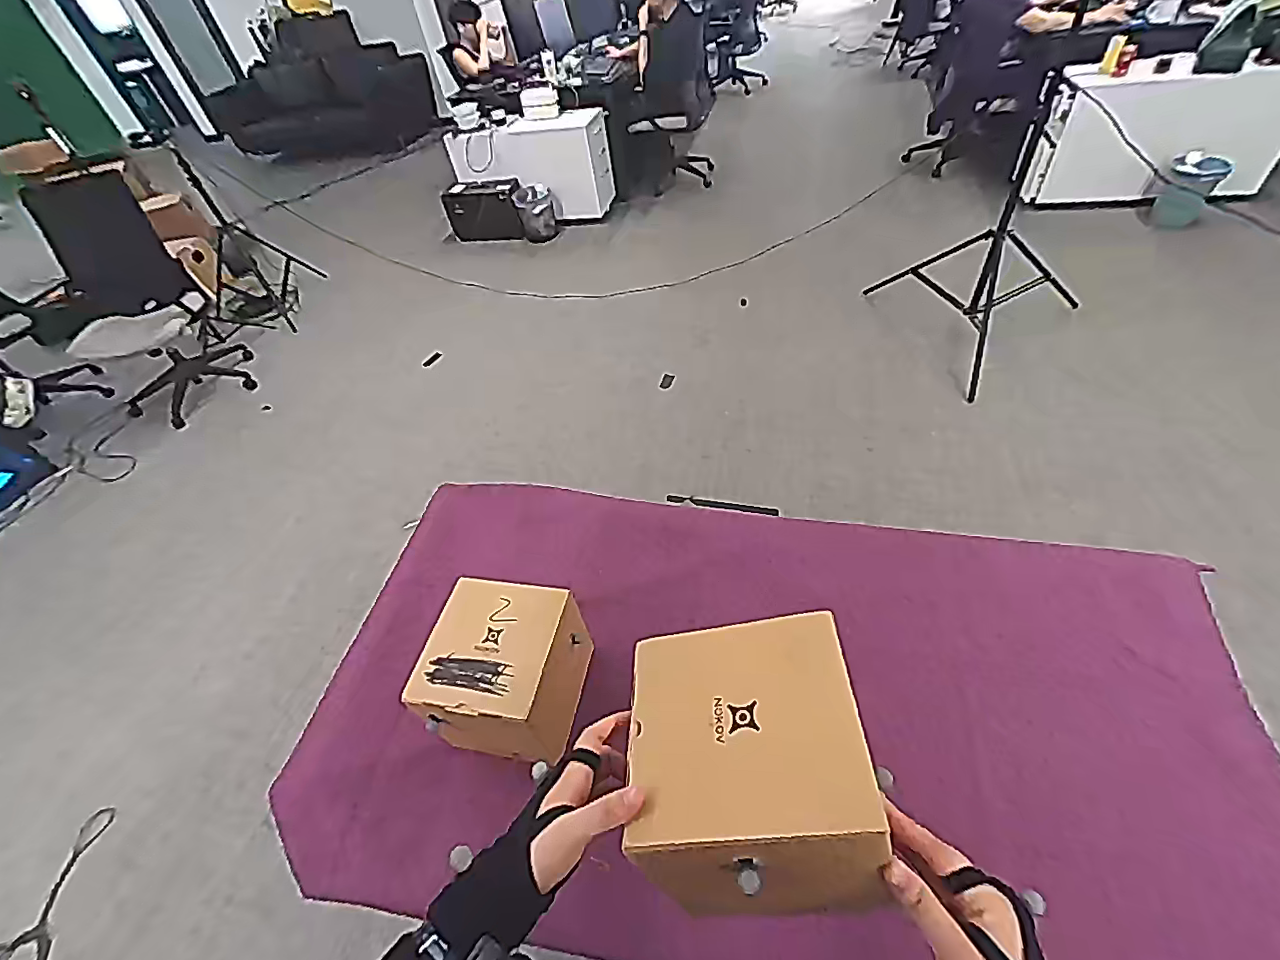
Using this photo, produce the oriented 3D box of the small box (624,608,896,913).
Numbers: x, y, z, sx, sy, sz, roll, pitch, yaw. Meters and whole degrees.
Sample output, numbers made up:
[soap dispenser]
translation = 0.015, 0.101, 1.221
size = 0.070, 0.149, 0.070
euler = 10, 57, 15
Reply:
[small box]
translation = 0.099, 0.236, 0.452
size = 0.179, 0.176, 0.168
euler = -15, 36, 13
